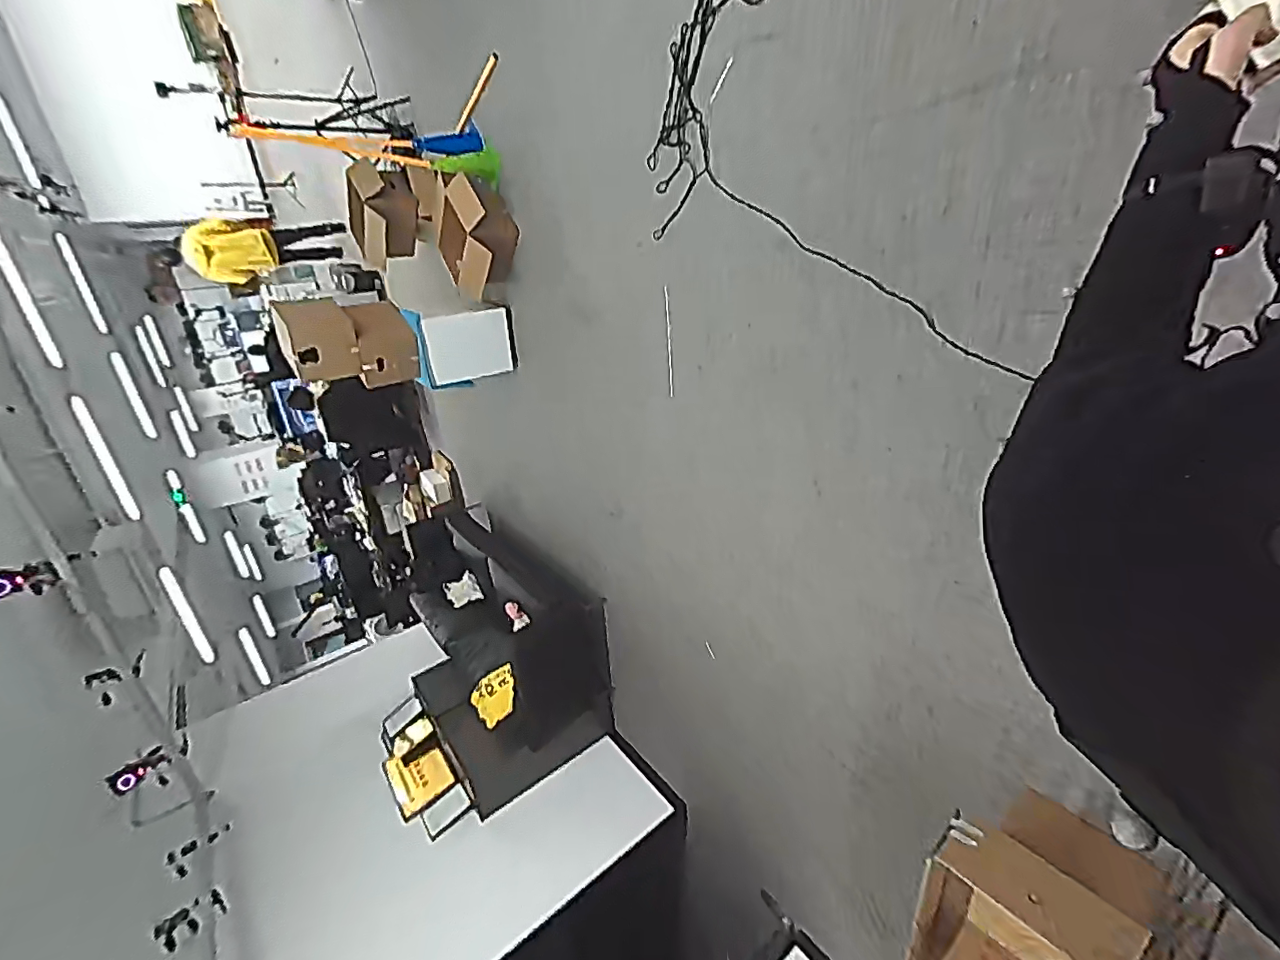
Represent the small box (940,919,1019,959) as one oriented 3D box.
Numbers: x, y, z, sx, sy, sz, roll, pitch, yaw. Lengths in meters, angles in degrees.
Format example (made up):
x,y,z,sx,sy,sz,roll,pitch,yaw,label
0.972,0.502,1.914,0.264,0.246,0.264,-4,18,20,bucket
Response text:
x,y,z,sx,sy,sz,roll,pitch,yaw,label
0.864,1.277,1.362,0.168,0.176,0.179,19,120,50,small box
